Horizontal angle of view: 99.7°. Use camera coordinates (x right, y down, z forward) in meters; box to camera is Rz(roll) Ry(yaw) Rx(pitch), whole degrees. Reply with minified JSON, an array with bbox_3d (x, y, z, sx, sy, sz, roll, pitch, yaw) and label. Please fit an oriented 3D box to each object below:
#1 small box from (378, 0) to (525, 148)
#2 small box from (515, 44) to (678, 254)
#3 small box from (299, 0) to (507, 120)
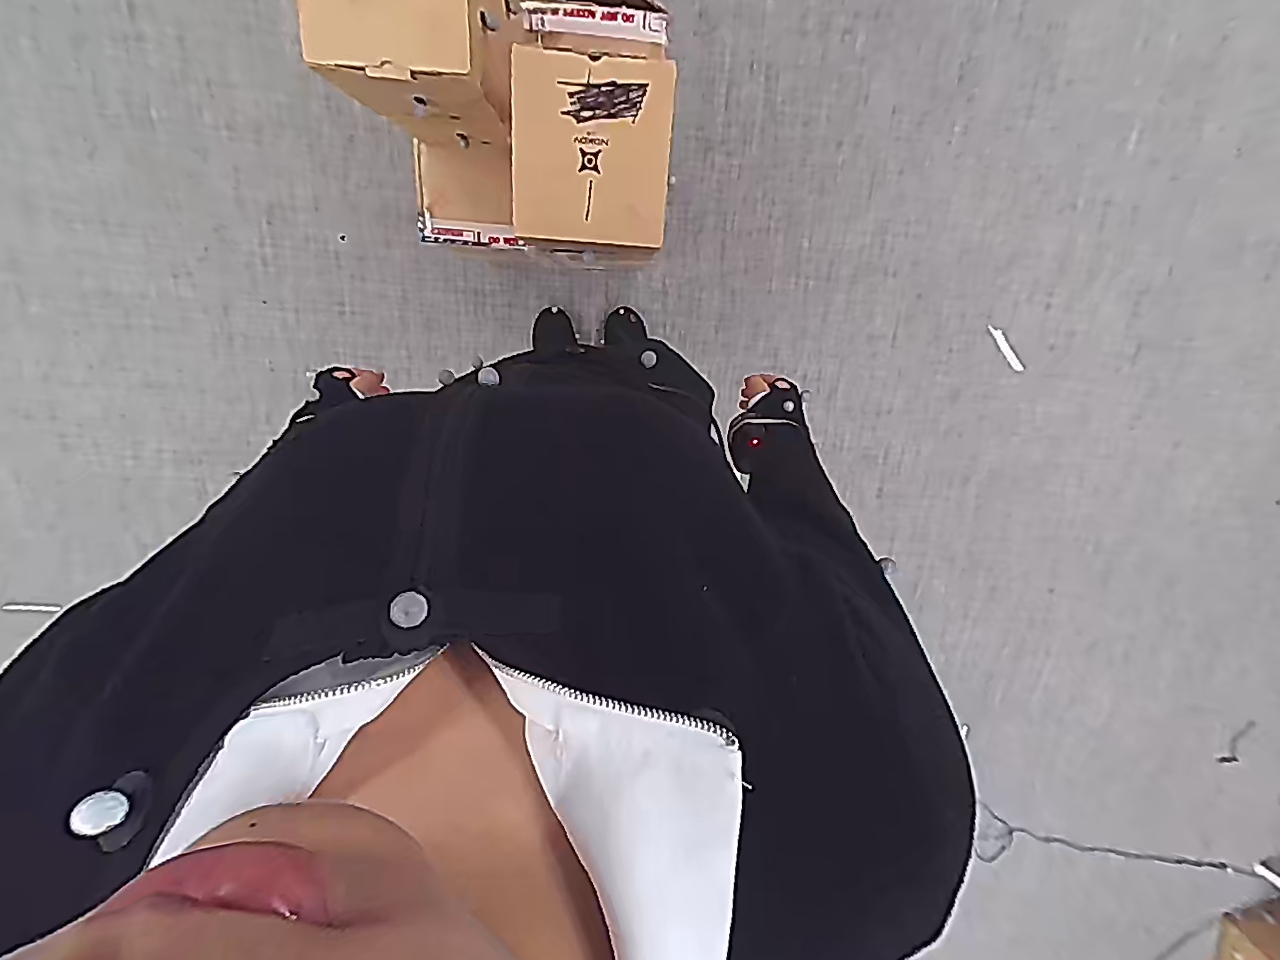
[{"bbox_3d":[-0.251,-0.576,0.735,0.168,0.176,0.179,2,110,-1],"label":"small box"},{"bbox_3d":[-0.052,-0.372,0.642,0.168,0.176,0.179,3,111,-3],"label":"small box"},{"bbox_3d":[-0.242,-0.512,0.583,0.168,0.176,0.179,3,110,-2],"label":"small box"}]
